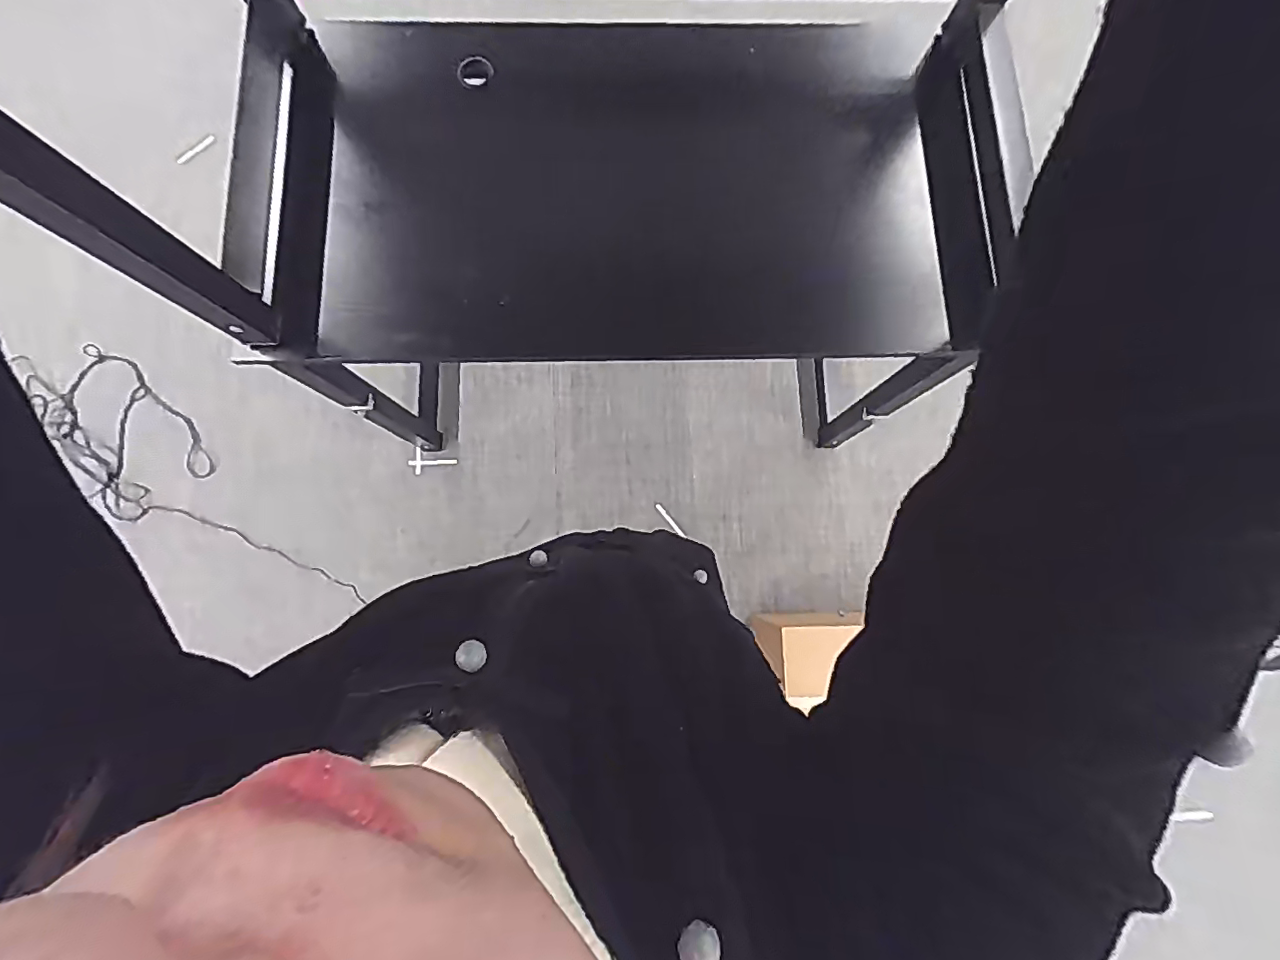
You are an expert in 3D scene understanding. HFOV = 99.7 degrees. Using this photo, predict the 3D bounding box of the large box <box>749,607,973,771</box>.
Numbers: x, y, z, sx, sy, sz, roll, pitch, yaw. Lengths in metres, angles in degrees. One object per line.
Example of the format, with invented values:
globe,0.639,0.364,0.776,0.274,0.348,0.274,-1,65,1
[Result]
large box,0.505,0.481,1.316,0.408,0.320,0.320,-1,82,-2
